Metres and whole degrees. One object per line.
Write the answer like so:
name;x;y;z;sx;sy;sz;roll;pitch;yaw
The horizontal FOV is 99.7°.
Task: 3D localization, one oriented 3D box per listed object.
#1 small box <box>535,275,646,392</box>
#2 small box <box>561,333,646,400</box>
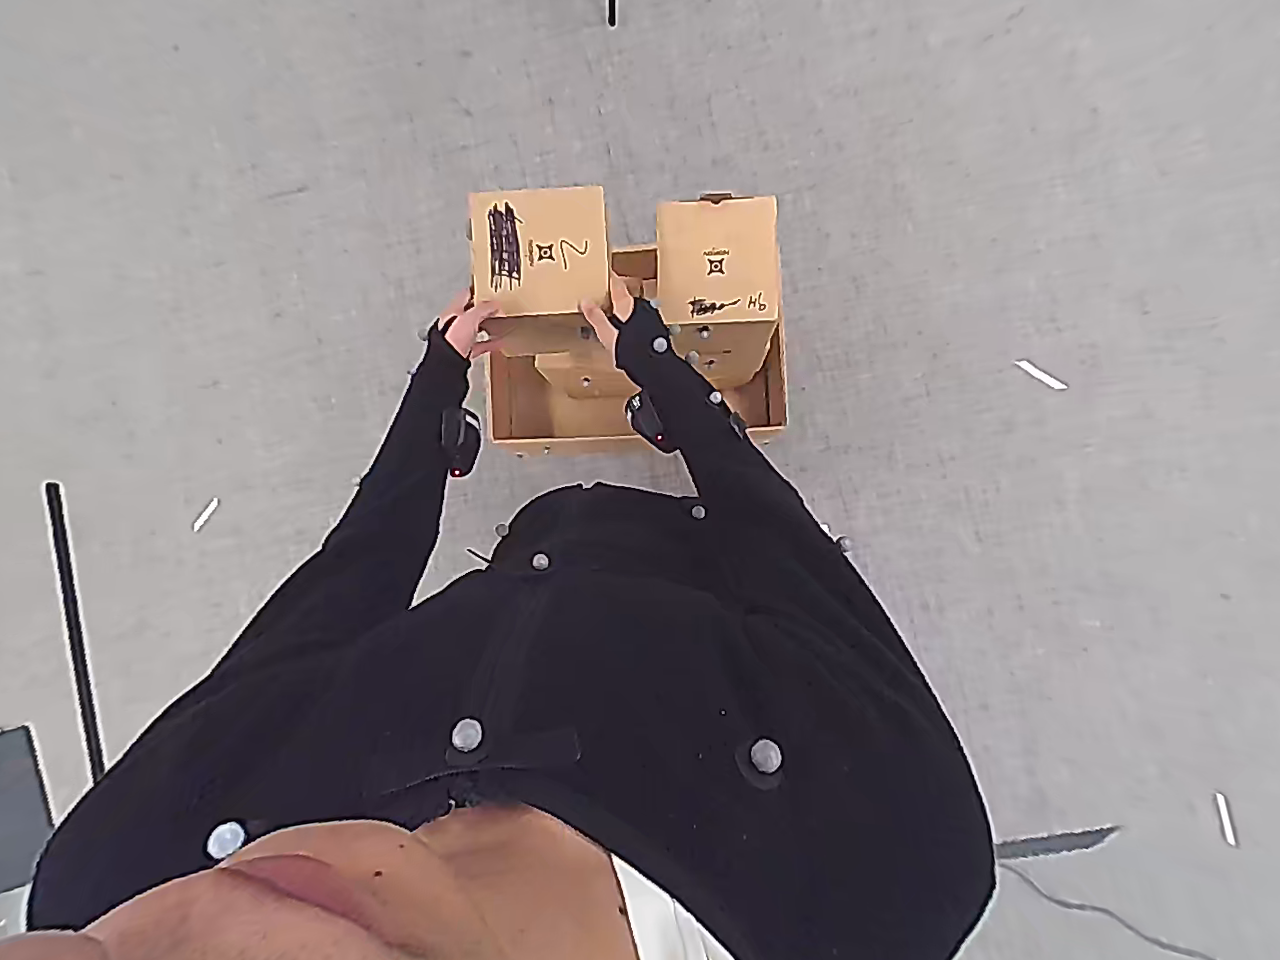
small box;-0.083;-0.260;0.991;0.179;0.176;0.168;4;88;4
small box;-0.077;-0.269;1.156;0.179;0.176;0.168;-2;88;3
